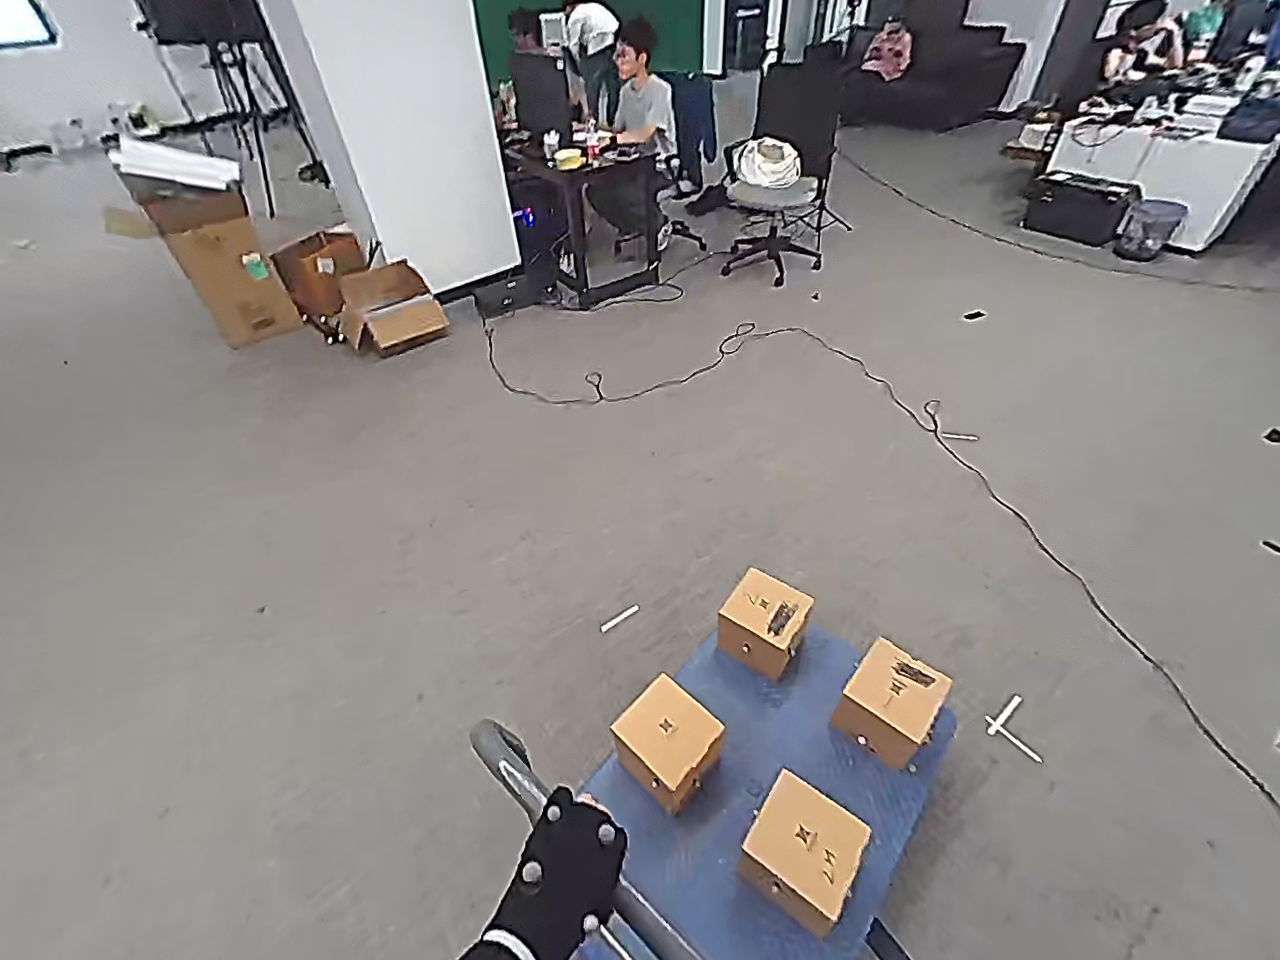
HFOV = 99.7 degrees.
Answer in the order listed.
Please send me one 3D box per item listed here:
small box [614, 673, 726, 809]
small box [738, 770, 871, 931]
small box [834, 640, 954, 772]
[{"bbox_3d":[0.062,0.563,1.162,0.179,0.176,0.168,34,55,31],"label":"small box"},{"bbox_3d":[0.298,0.693,1.009,0.179,0.176,0.168,27,52,28],"label":"small box"},{"bbox_3d":[0.552,0.499,1.194,0.168,0.176,0.179,31,55,31],"label":"small box"}]
